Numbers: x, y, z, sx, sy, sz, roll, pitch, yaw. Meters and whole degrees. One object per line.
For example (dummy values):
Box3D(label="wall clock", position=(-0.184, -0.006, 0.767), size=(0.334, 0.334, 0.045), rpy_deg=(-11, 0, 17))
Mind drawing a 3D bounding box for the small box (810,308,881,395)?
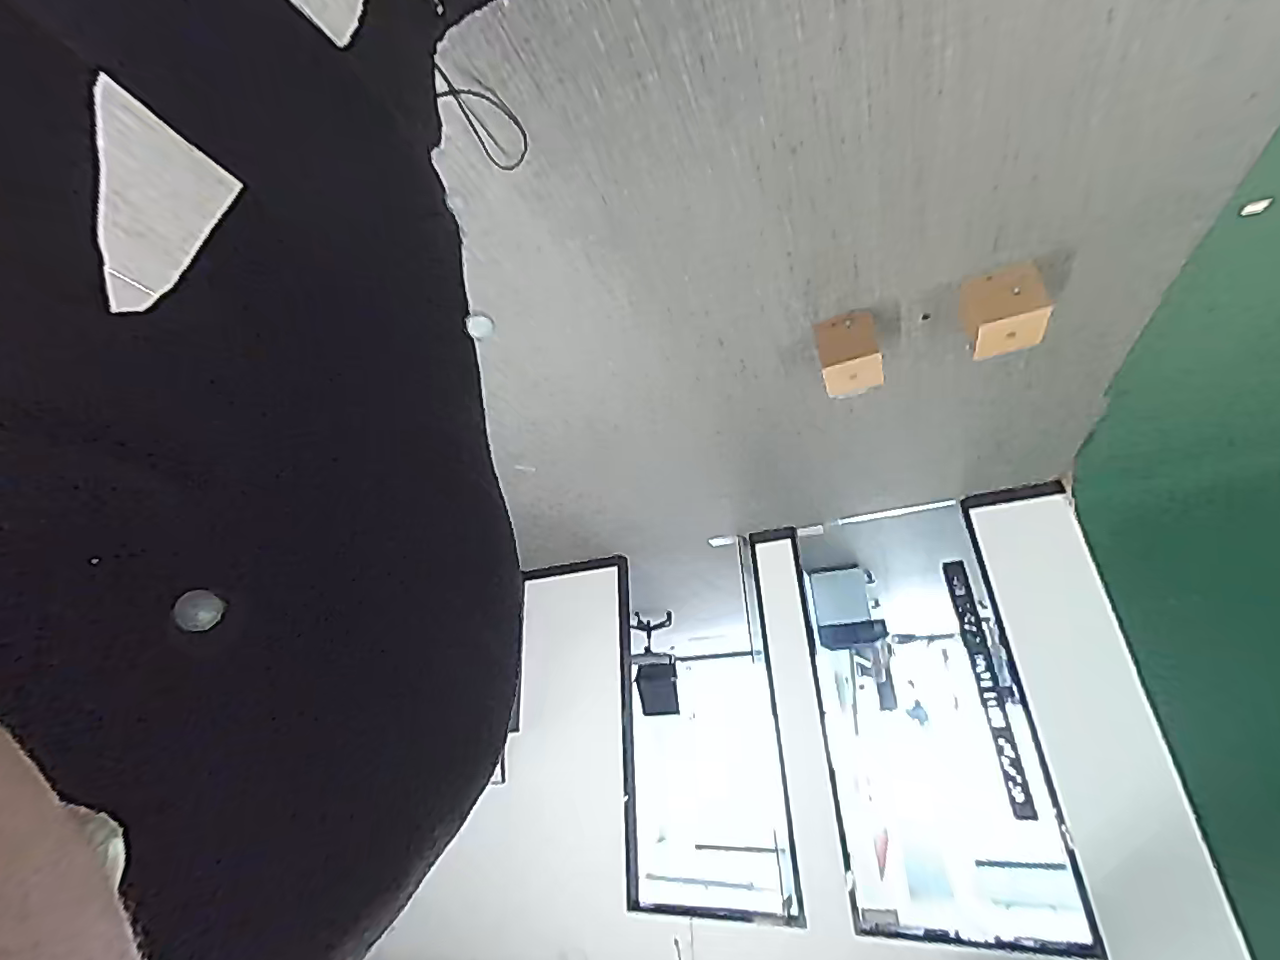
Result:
Box3D(label="small box", position=(0.623, -0.387, 1.638), size=(0.168, 0.176, 0.179), rpy_deg=(-14, 154, 21))

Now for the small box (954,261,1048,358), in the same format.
Box3D(label="small box", position=(0.984, -0.474, 1.490), size=(0.168, 0.176, 0.179), rpy_deg=(-14, 155, 21))
